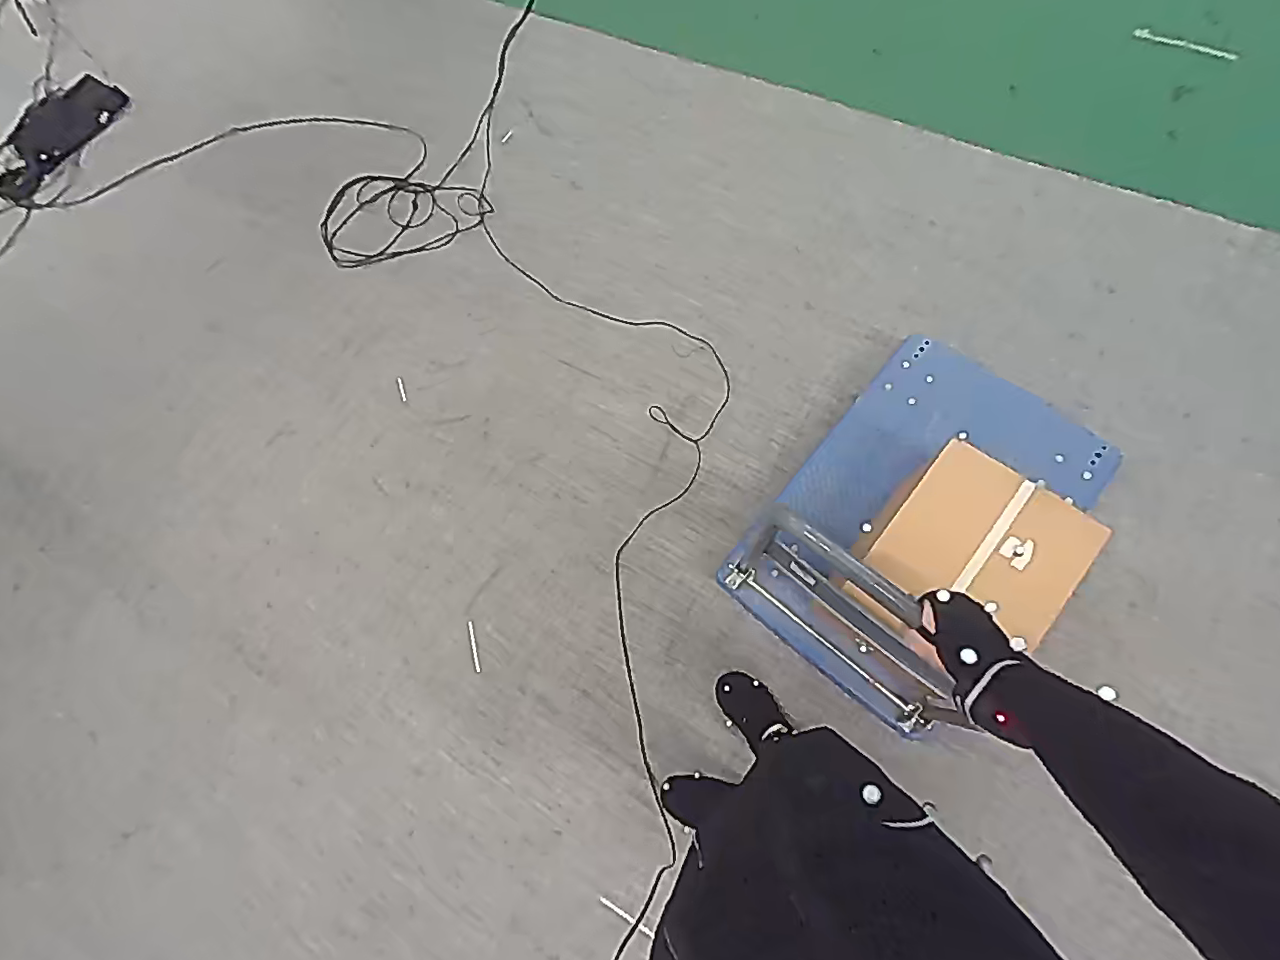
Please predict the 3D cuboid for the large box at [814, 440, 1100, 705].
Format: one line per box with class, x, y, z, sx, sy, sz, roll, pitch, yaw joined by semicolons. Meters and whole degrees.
large box;0.629;0.202;1.145;0.320;0.320;0.408;37;80;15
